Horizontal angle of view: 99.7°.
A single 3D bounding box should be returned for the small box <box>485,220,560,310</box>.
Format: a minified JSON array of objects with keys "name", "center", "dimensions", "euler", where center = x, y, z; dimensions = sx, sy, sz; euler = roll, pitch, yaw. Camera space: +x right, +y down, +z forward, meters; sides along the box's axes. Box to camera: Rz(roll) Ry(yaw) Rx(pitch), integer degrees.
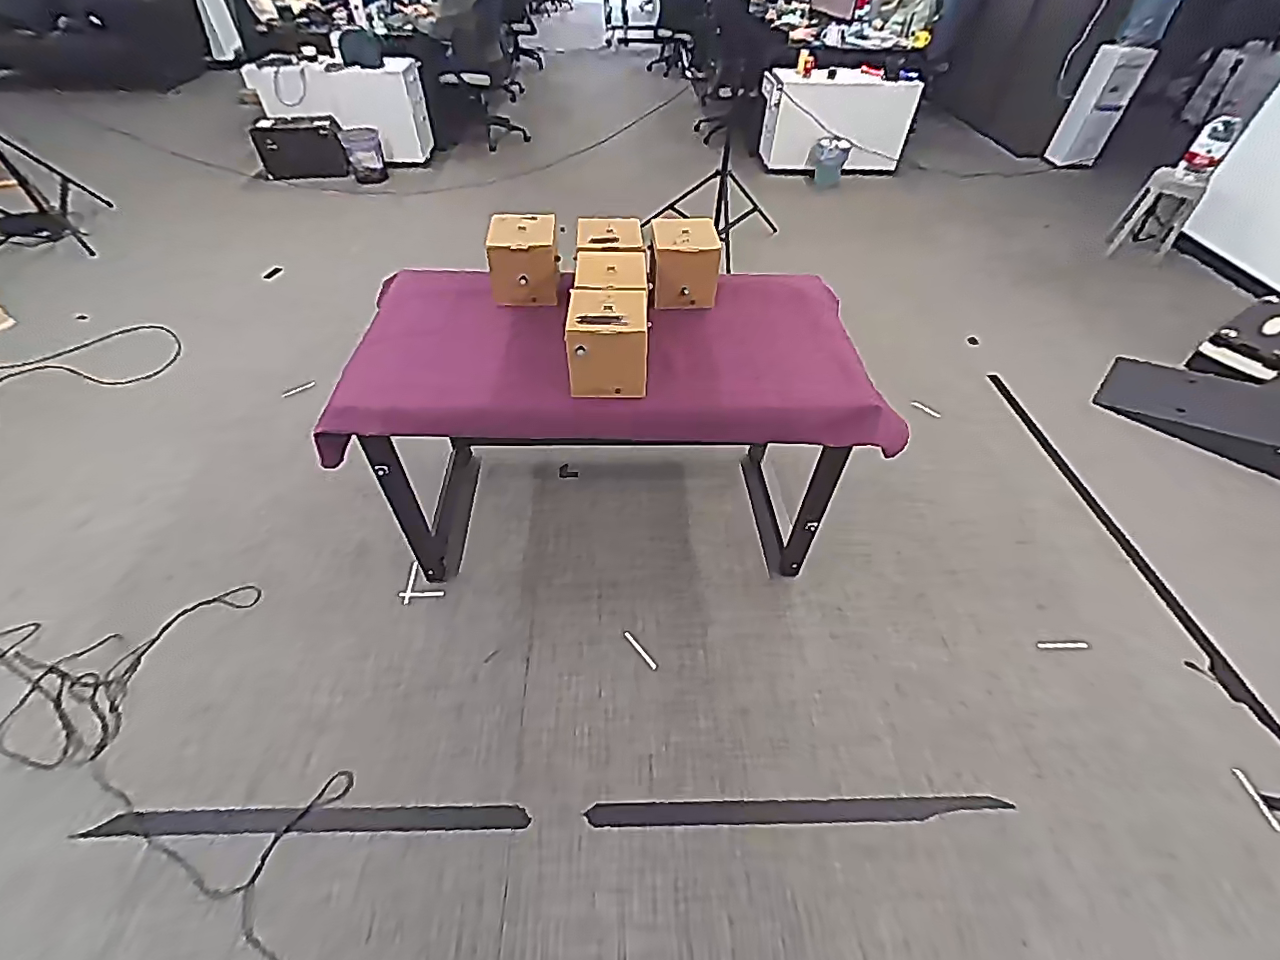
[{"name":"small box","center":[-0.305,-0.571,1.444],"dimensions":[0.168,0.176,0.179],"euler":[-2,50,-3]}]
